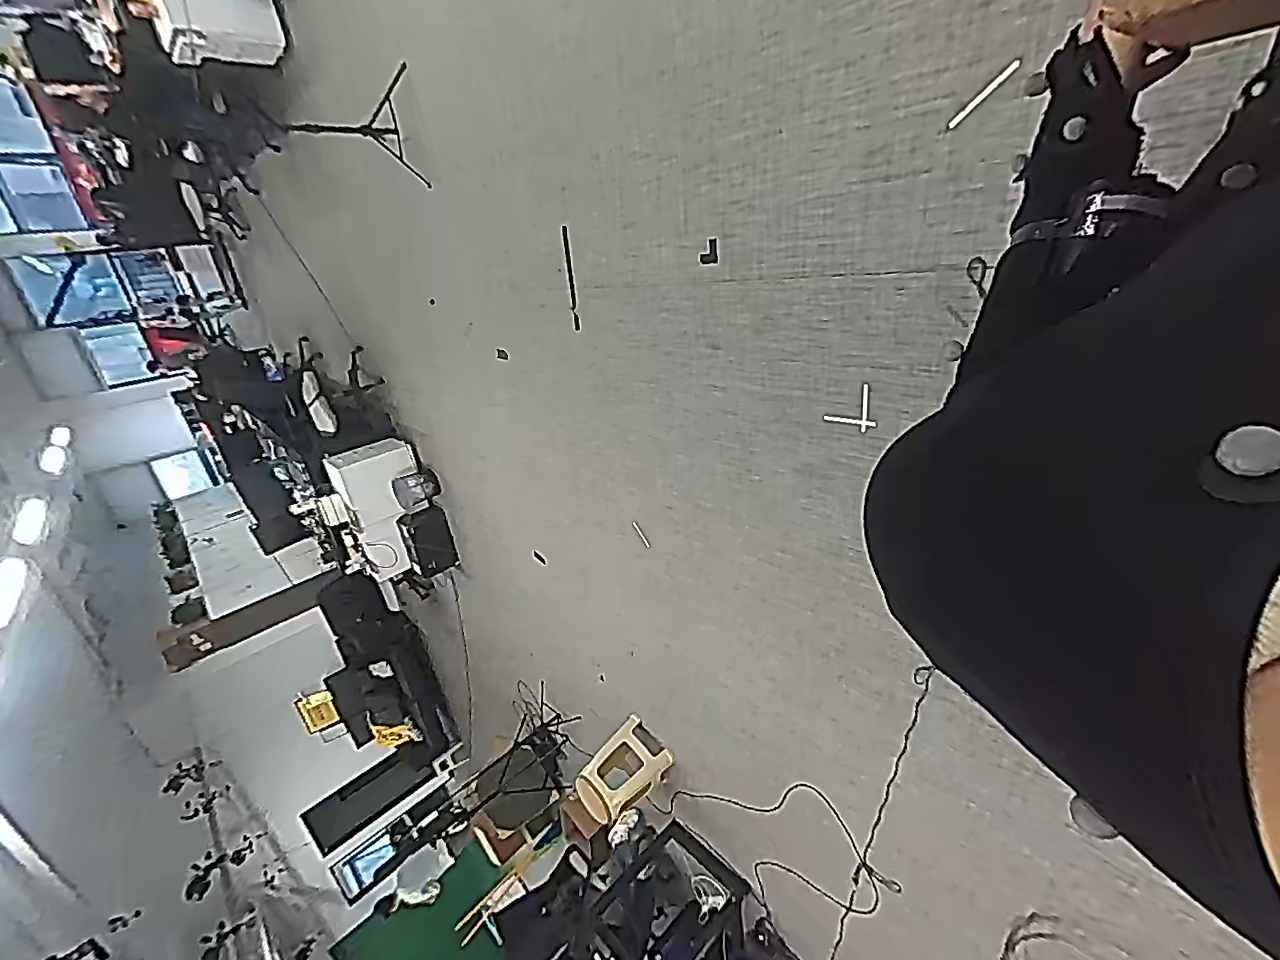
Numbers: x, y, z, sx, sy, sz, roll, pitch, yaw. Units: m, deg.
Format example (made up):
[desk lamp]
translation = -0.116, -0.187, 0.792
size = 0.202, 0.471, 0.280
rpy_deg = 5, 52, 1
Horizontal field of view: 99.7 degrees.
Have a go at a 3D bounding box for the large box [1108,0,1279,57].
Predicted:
[large box]
translation = 0.402, -0.360, 0.123
size = 0.408, 0.320, 0.320
rpy_deg = 12, 125, 42
